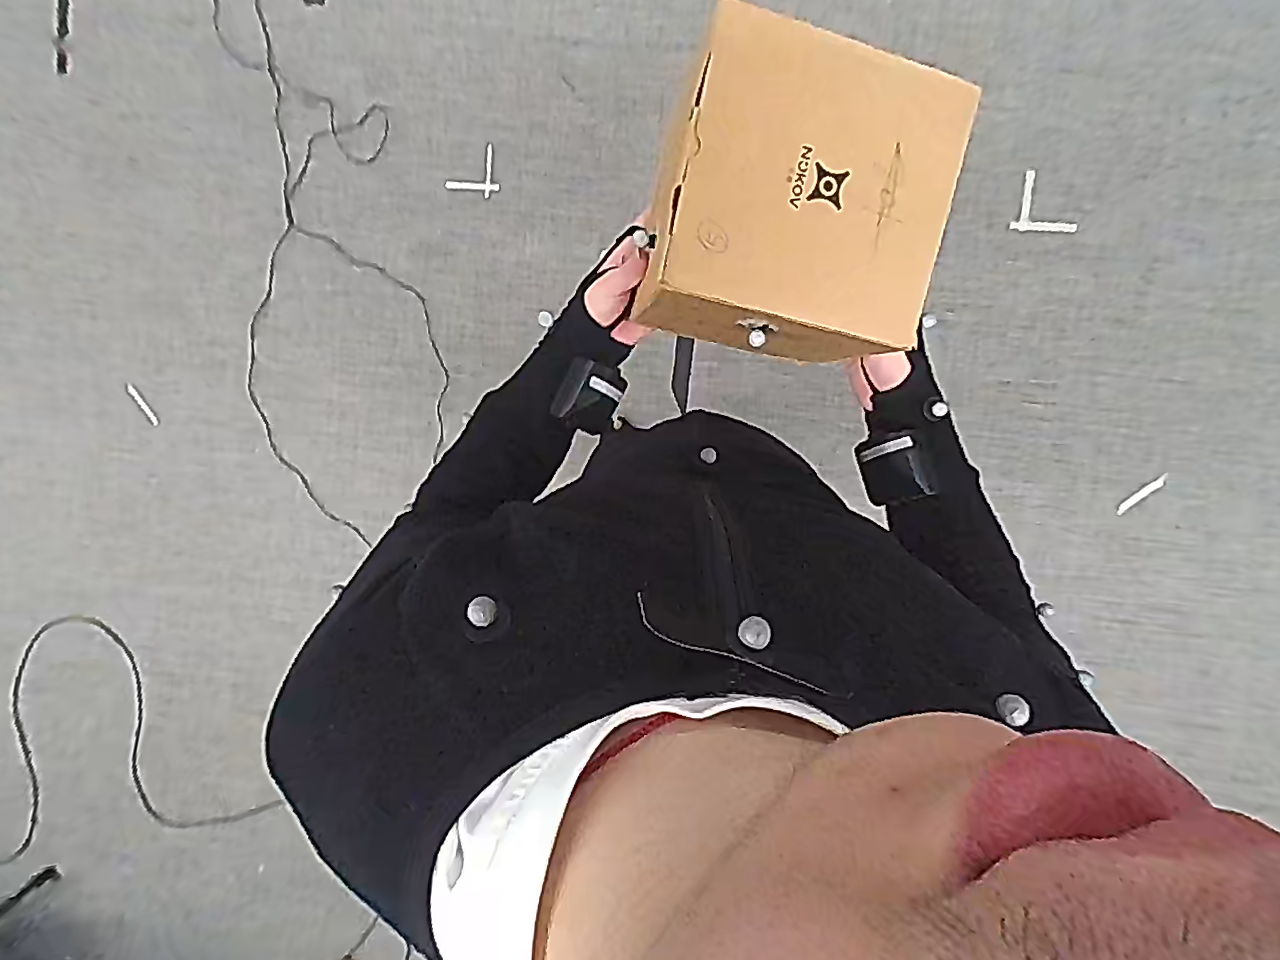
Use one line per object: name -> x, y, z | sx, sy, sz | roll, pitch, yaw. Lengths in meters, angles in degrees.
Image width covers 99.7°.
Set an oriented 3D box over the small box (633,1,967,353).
small box -> 0.099, -0.201, 0.420 | 0.179, 0.176, 0.168 | 11, 97, -10
